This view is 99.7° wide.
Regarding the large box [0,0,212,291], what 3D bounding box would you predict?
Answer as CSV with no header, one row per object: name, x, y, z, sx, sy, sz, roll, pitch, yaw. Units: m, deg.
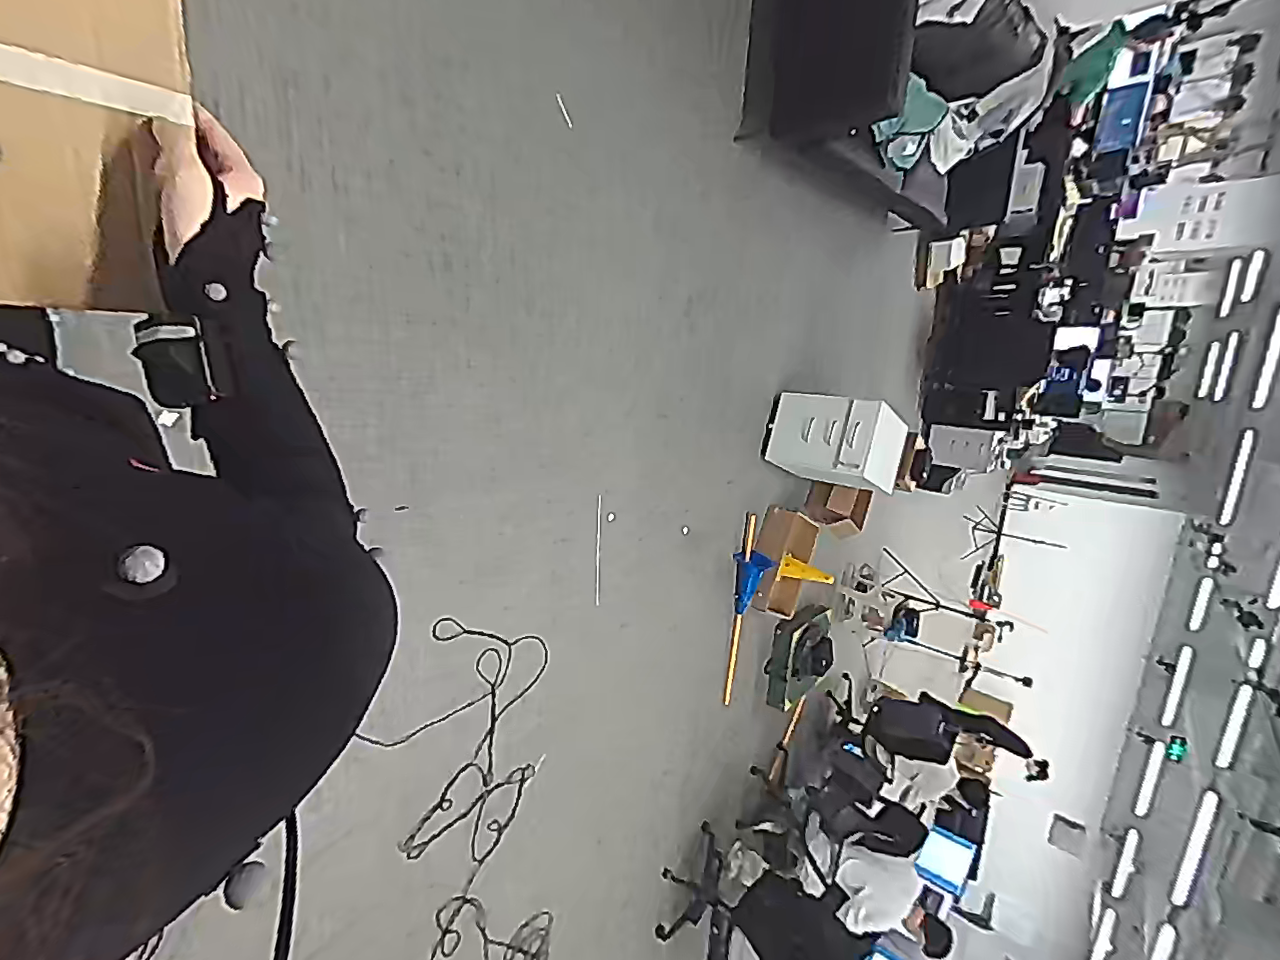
large box,-0.584,-0.333,0.360,0.408,0.320,0.320,-12,126,-46
